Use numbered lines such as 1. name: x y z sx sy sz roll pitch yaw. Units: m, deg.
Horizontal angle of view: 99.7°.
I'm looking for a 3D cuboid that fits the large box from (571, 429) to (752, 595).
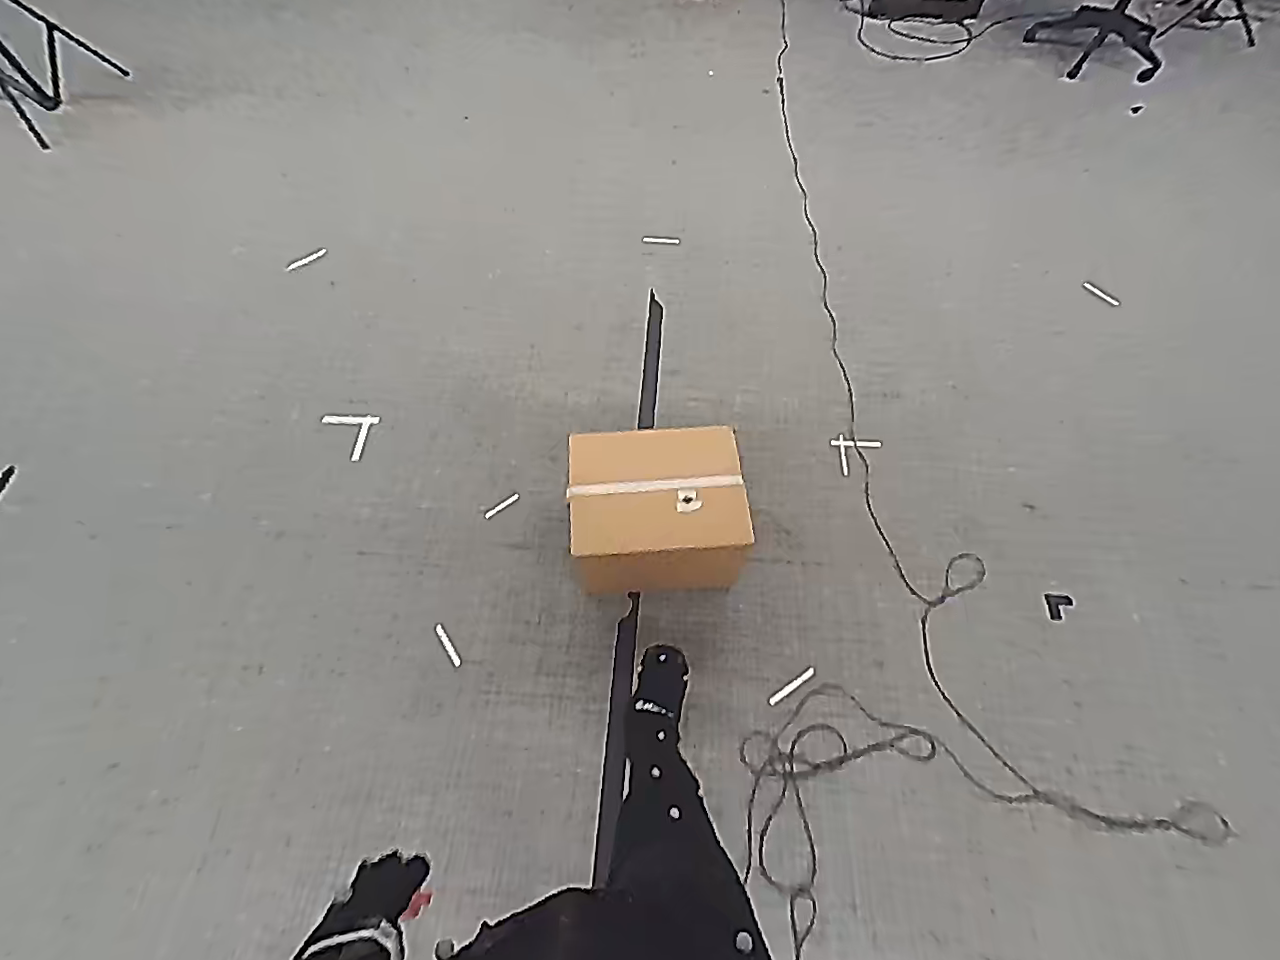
1. large box: 0.038 0.091 1.385 0.408 0.320 0.320 -3 61 -3
